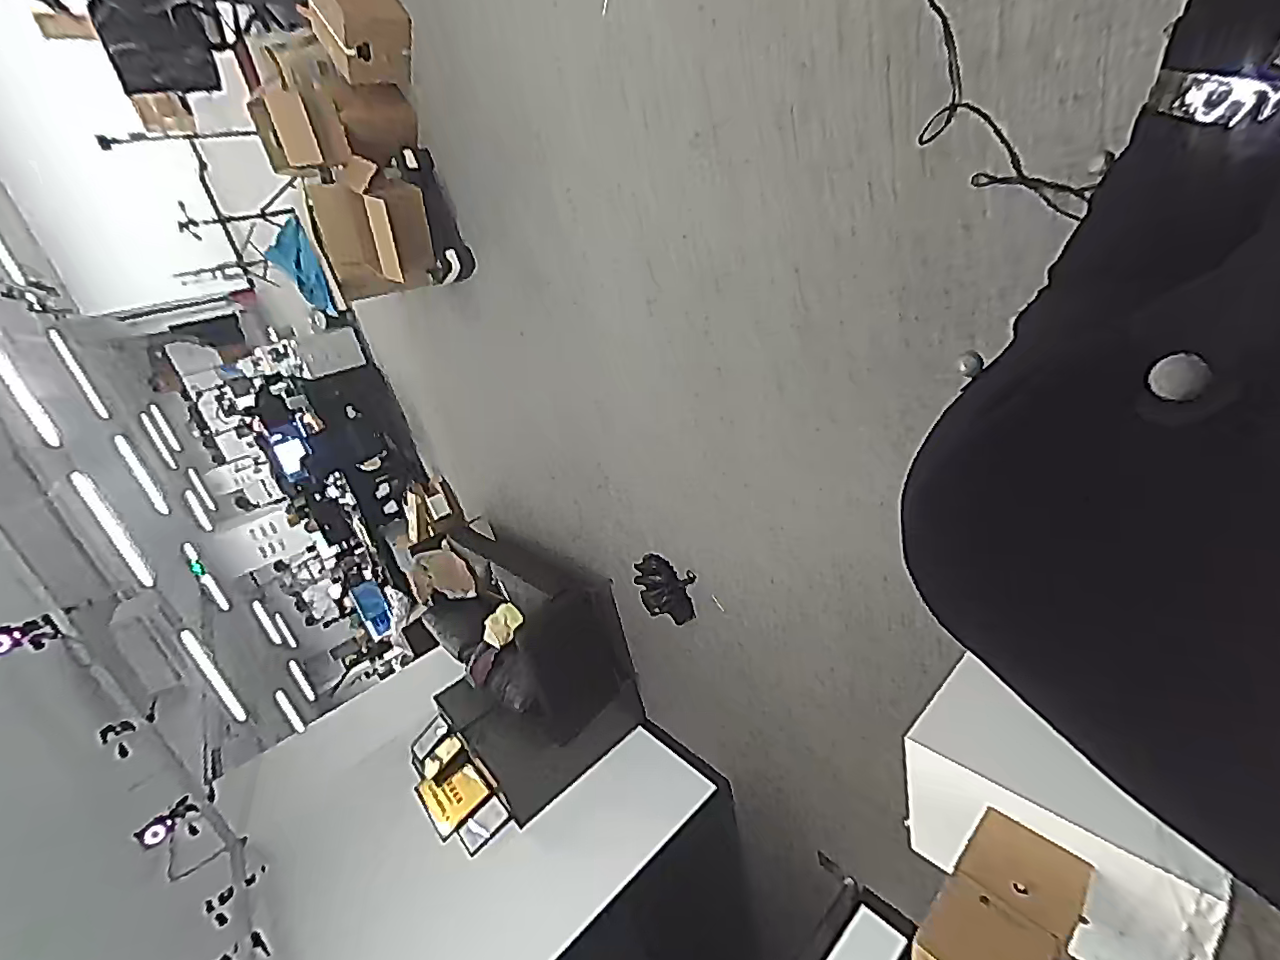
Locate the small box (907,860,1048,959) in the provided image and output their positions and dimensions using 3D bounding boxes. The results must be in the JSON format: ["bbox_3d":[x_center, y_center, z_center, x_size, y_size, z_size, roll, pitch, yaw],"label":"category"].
[{"bbox_3d":[0.606,0.851,0.975,0.168,0.176,0.179,17,127,51],"label":"small box"}]

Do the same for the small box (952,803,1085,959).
[{"bbox_3d":[0.730,0.783,1.052,0.179,0.176,0.168,17,128,49],"label":"small box"}]
